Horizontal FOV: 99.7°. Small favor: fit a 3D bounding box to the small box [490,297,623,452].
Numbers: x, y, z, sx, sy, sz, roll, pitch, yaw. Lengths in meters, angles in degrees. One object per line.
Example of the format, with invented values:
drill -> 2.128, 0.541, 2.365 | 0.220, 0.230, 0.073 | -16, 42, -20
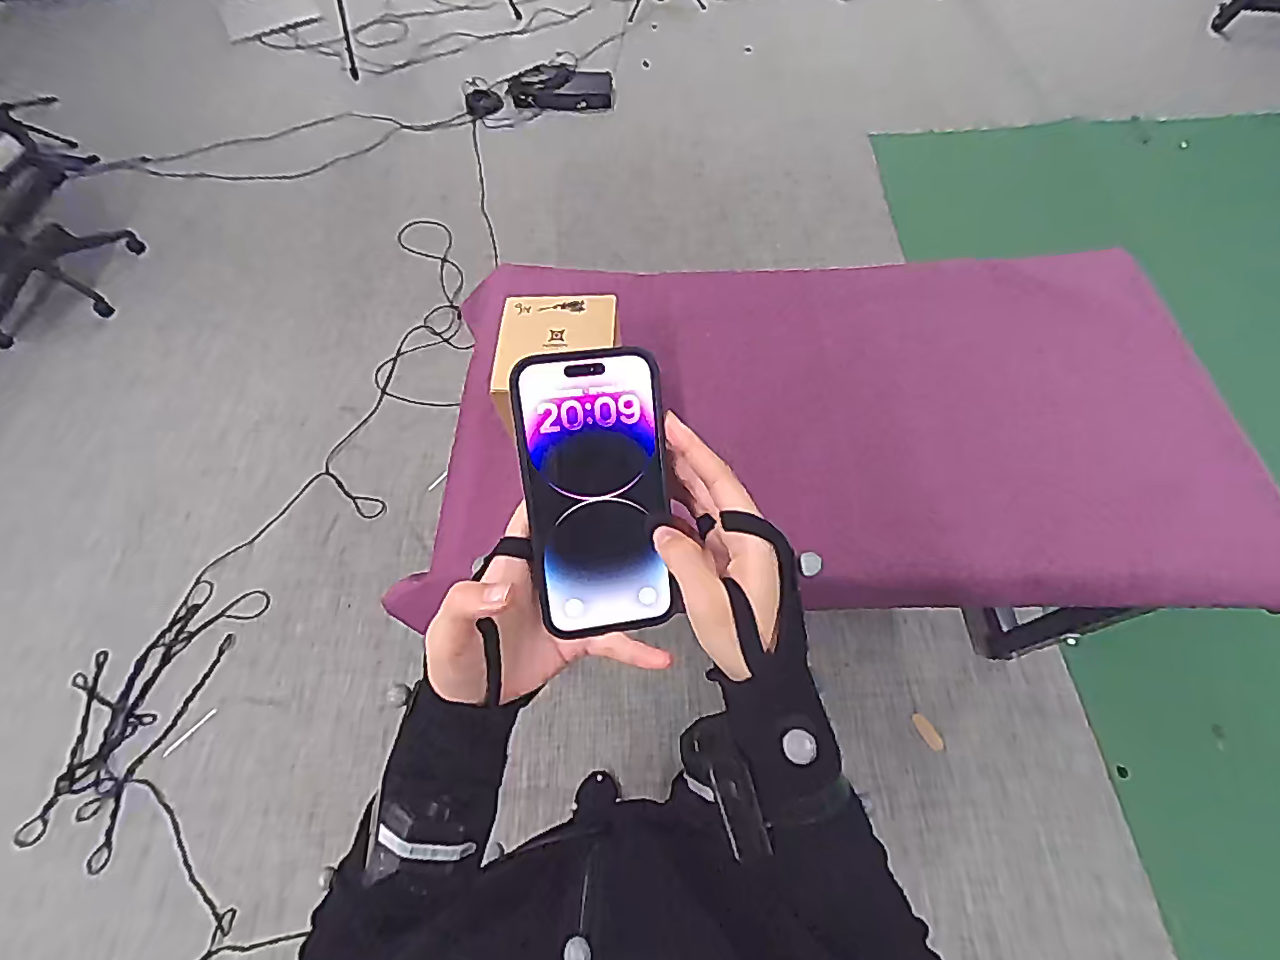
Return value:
small box -> -0.115, -0.154, 0.830 | 0.168, 0.176, 0.179 | 0, 62, 3
